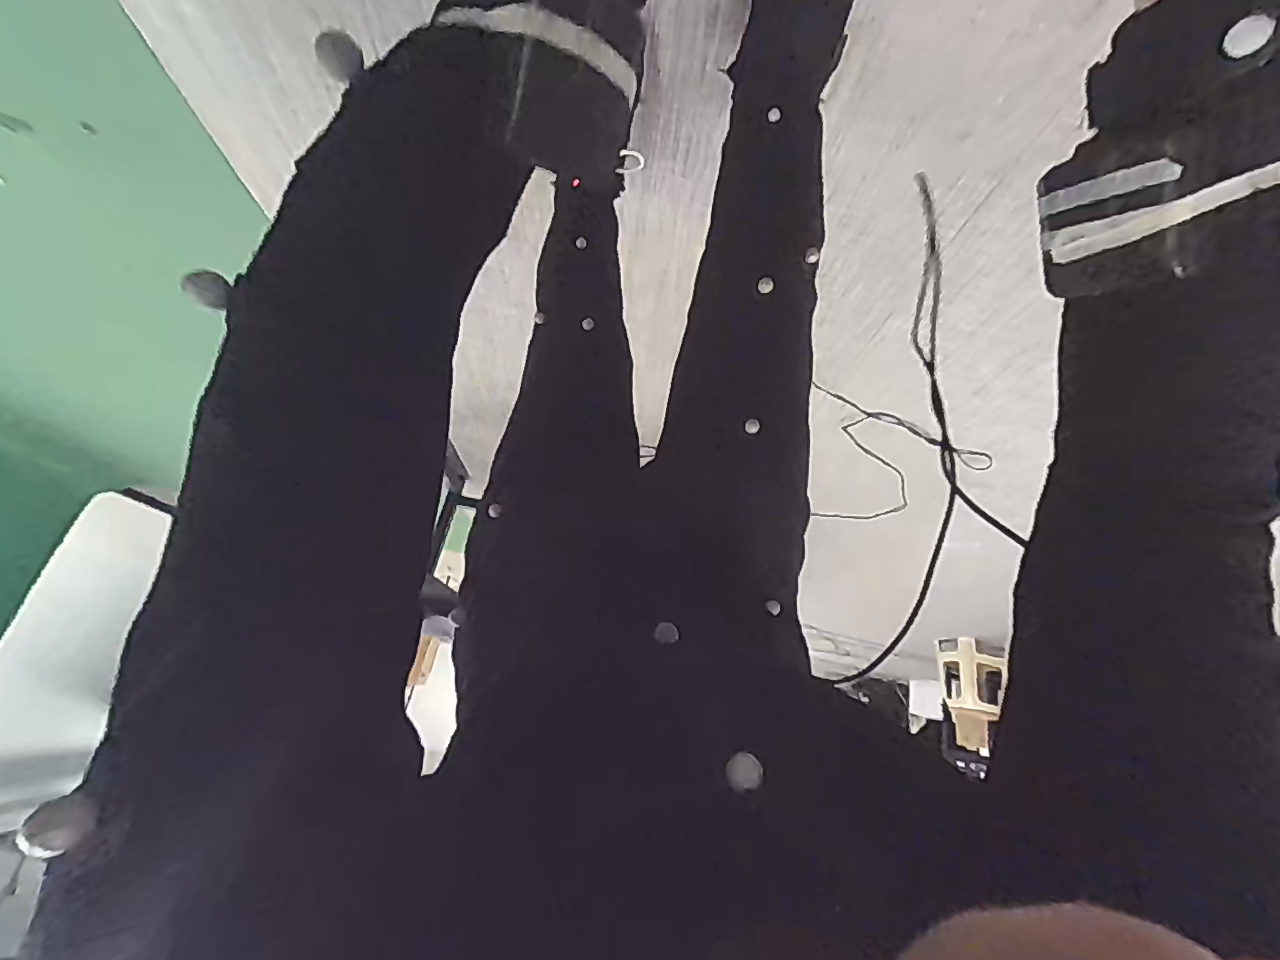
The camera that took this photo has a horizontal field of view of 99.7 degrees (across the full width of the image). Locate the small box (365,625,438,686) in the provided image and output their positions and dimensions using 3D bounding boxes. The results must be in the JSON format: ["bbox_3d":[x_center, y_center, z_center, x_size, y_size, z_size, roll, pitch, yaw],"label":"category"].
[{"bbox_3d":[-0.820,0.610,1.881,0.168,0.176,0.179,14,158,-5],"label":"small box"}]
